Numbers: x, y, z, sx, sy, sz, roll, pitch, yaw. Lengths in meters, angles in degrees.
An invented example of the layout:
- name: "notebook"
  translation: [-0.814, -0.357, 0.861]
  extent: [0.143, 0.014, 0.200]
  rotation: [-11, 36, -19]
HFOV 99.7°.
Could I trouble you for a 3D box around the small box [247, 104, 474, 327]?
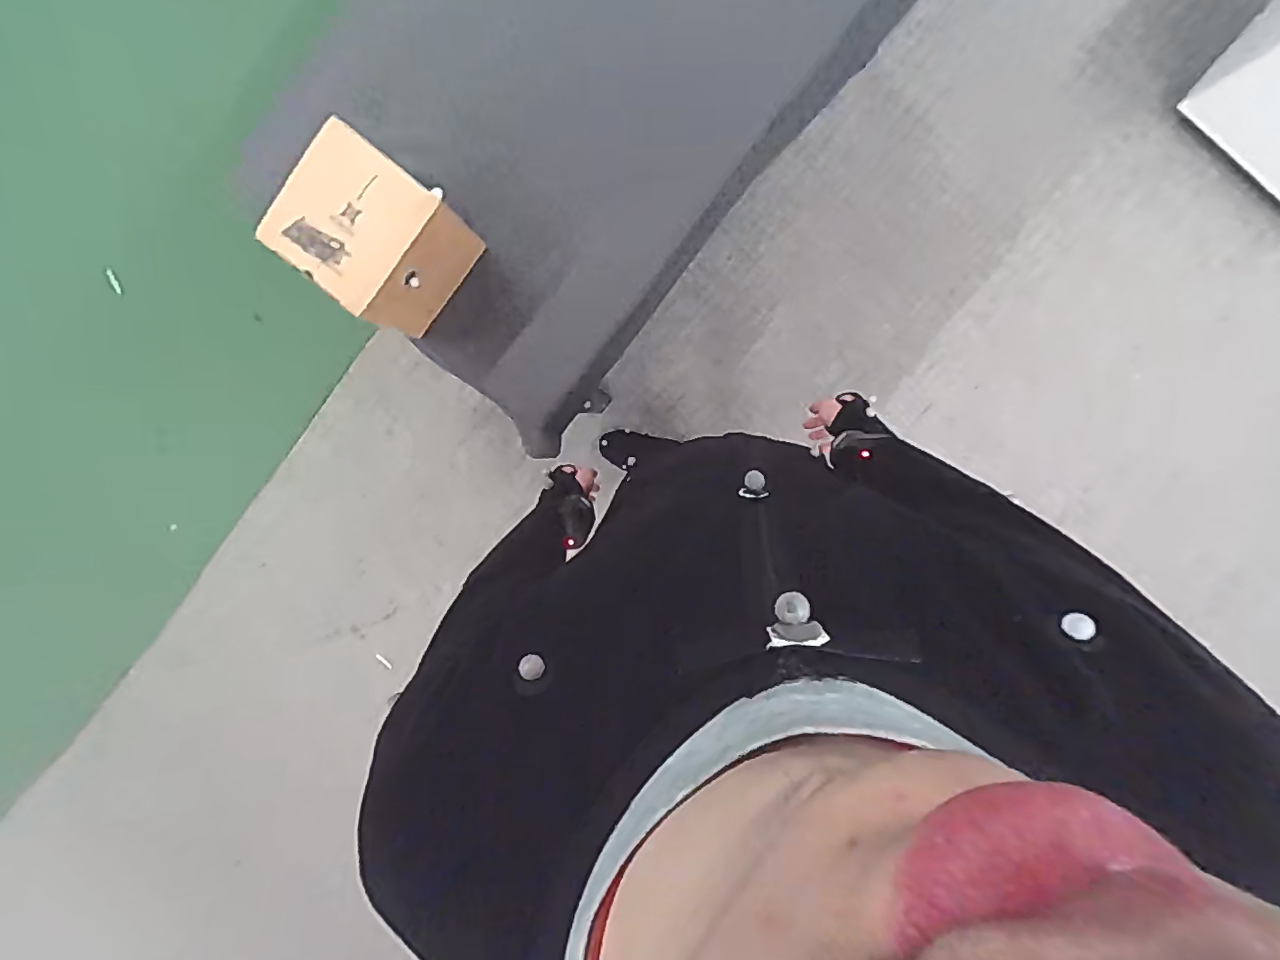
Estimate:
- name: "small box"
  translation: [-0.349, -0.327, 0.713]
  extent: [0.168, 0.176, 0.179]
  rotation: [38, 96, -4]
